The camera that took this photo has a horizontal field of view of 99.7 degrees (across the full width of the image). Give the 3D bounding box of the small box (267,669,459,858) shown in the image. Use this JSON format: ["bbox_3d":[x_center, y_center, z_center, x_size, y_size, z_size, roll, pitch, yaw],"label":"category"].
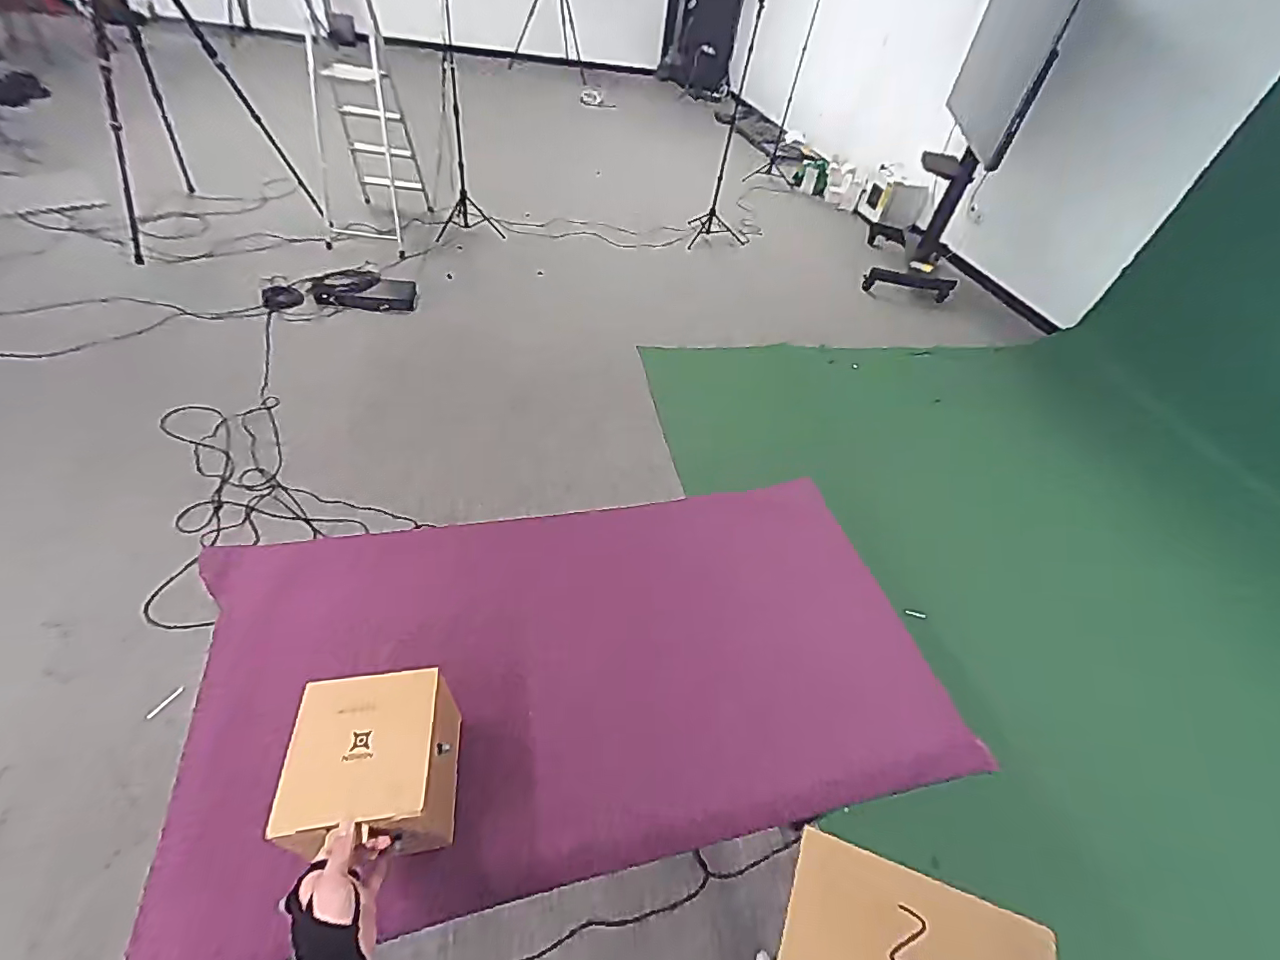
[{"bbox_3d":[-0.340,0.373,0.707,0.168,0.176,0.179,-3,45,-8],"label":"small box"}]
